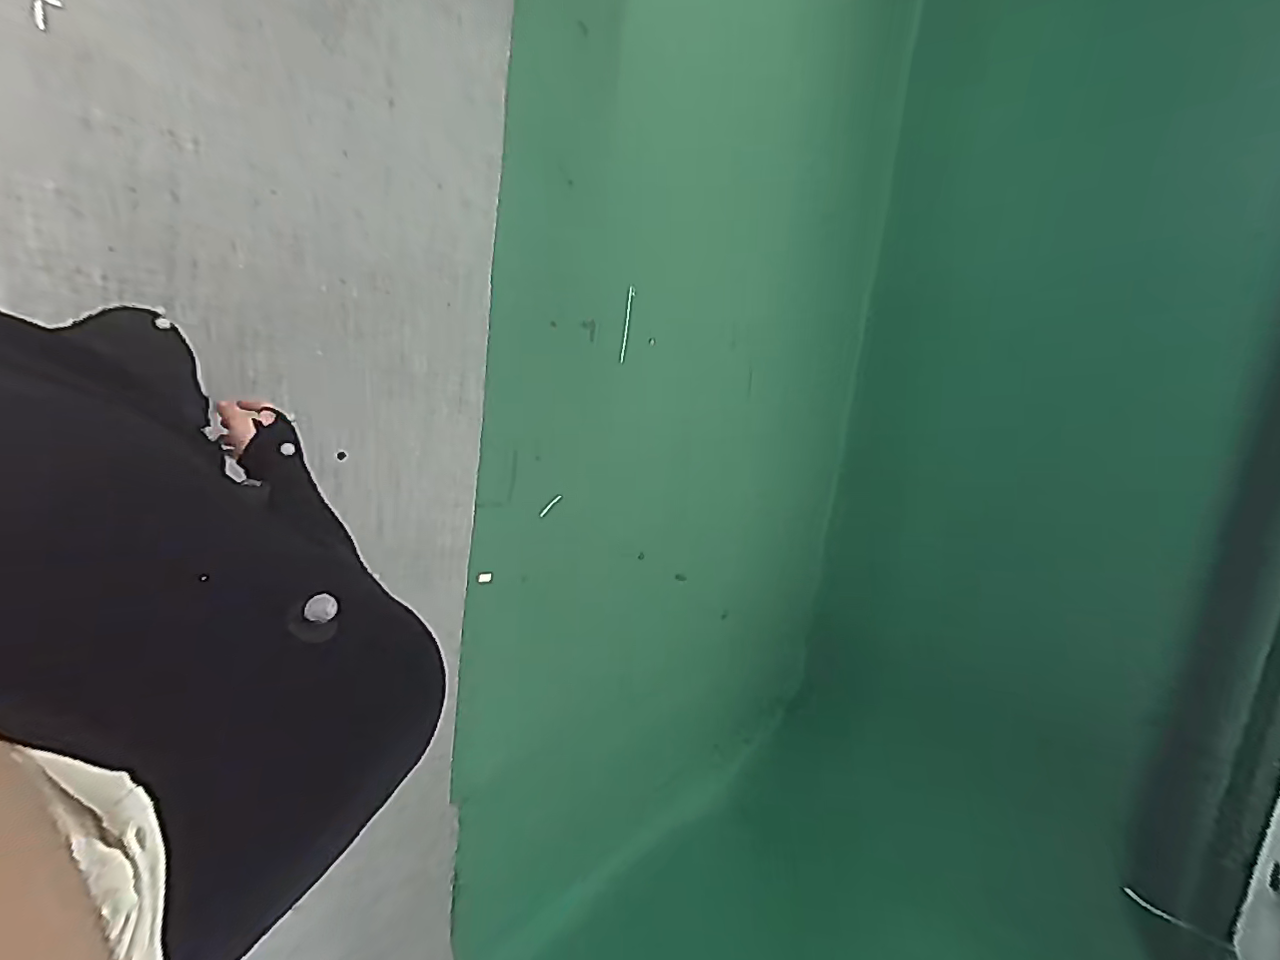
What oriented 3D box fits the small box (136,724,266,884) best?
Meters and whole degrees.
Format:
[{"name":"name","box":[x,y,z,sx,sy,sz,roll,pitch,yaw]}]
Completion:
[{"name":"small box","box":[-0.852,0.612,1.047,0.168,0.176,0.179,5,98,-48]}]
